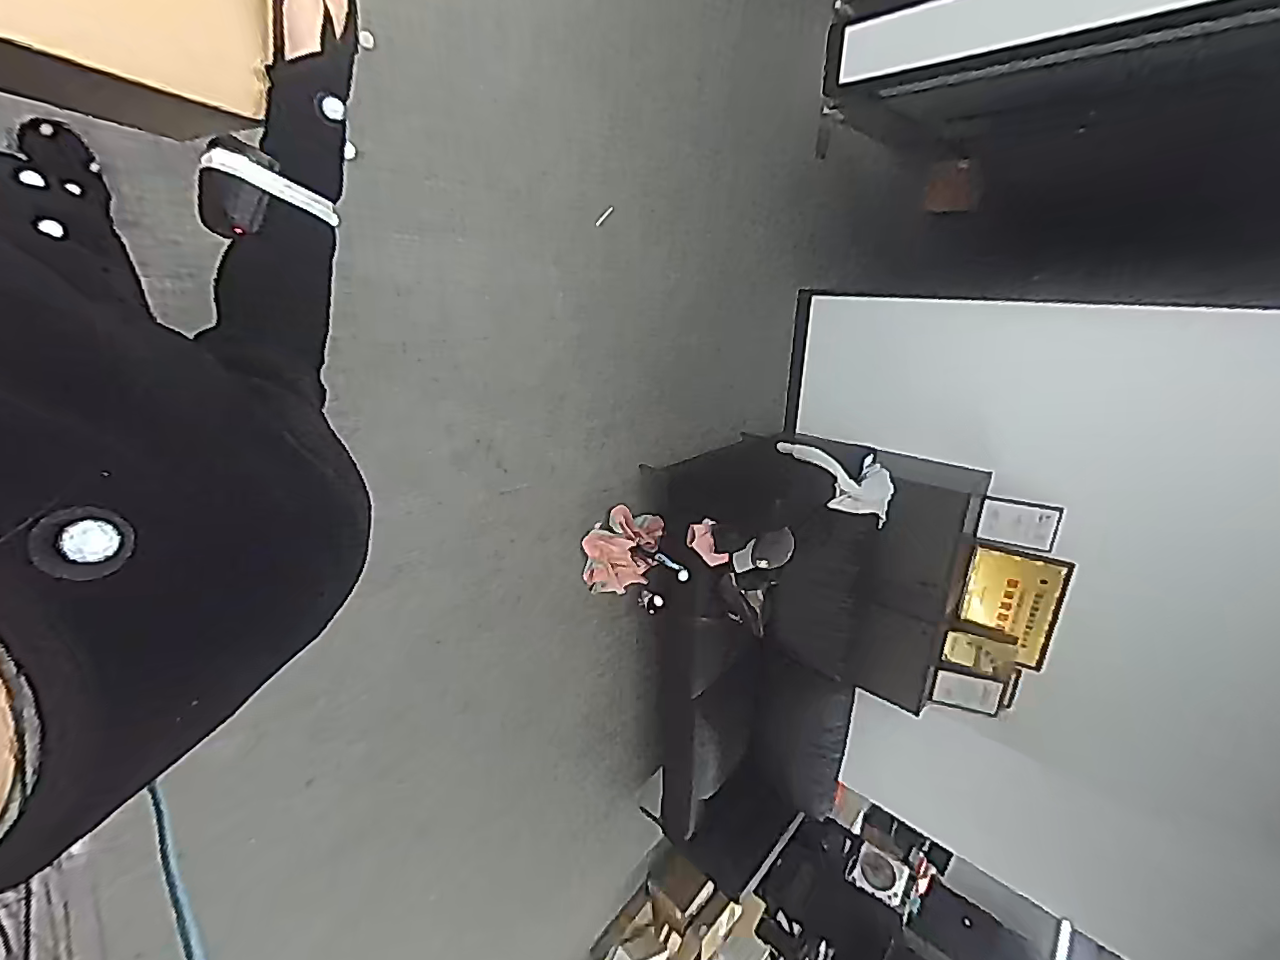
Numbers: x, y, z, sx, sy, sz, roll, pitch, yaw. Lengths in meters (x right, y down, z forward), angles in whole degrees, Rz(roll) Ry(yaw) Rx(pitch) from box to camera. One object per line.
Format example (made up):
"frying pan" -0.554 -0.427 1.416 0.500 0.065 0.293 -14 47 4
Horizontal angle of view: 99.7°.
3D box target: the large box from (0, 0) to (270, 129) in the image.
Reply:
"large box" -0.504 -0.453 0.327 0.408 0.320 0.320 -9 116 -47
